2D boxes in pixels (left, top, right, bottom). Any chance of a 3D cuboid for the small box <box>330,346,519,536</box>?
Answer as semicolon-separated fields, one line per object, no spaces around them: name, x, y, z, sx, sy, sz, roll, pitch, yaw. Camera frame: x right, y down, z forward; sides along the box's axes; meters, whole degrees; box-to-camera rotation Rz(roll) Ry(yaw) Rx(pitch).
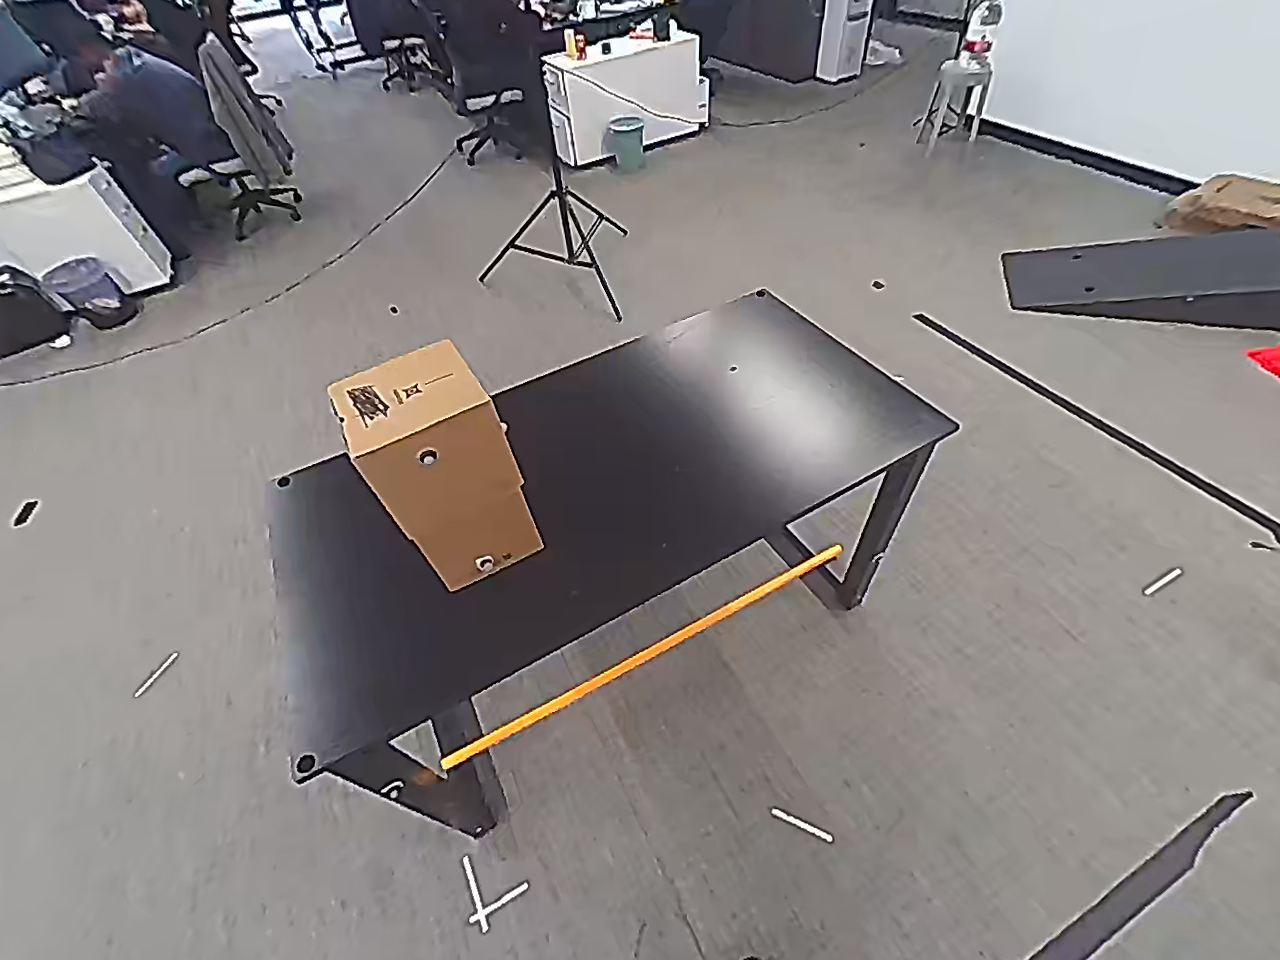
small box;-0.296;-0.053;0.762;0.179;0.176;0.168;-28;52;-17

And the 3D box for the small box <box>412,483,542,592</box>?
small box;-0.282;0.049;0.891;0.168;0.176;0.179;-27;53;-15
